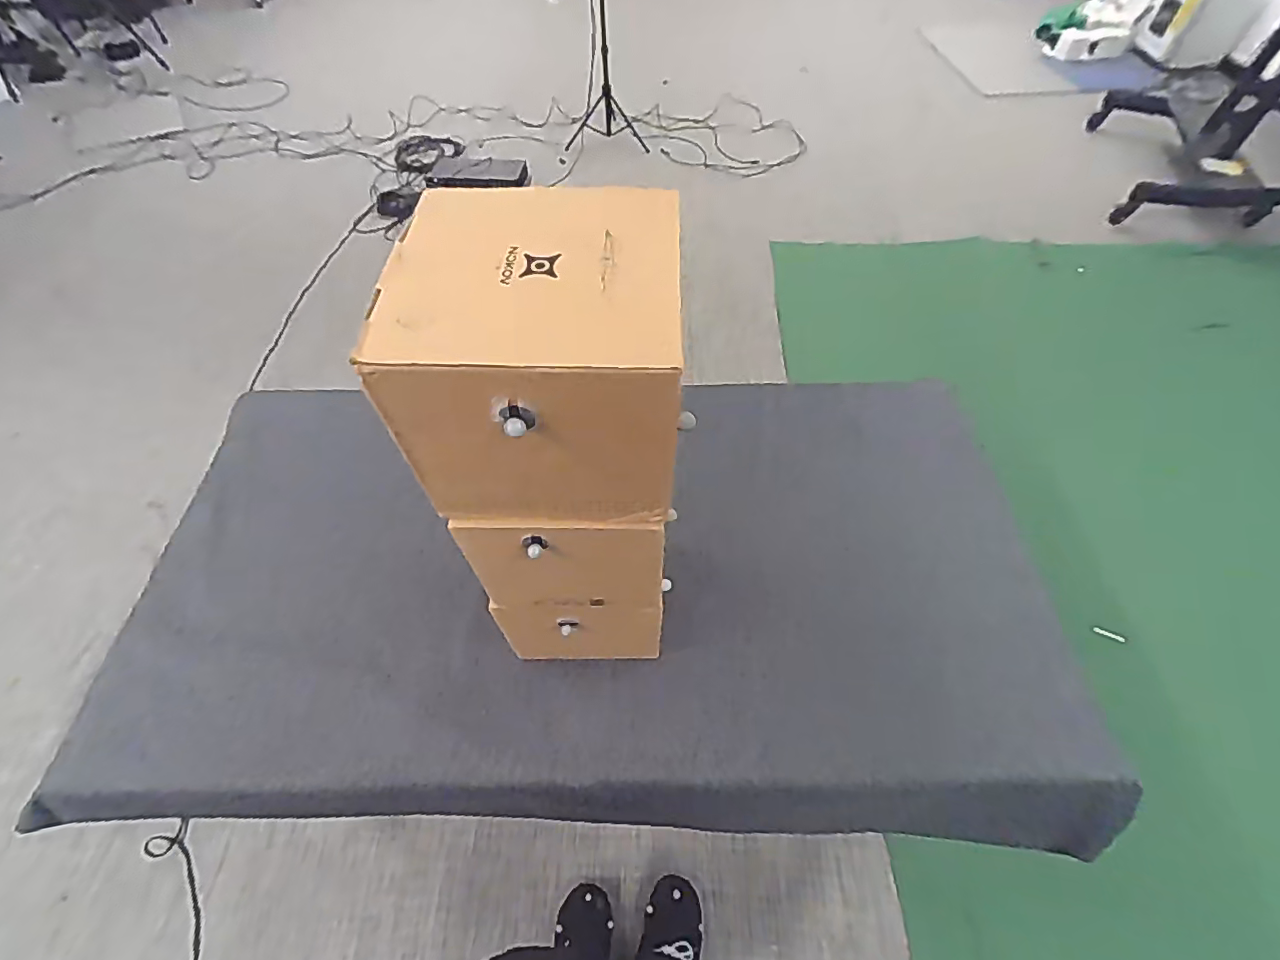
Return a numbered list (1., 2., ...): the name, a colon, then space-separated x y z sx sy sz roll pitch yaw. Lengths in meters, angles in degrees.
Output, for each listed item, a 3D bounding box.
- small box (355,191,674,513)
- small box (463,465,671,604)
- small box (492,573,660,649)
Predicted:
1. small box: -0.065 -0.085 0.398 0.179 0.176 0.168 1 58 0
2. small box: -0.060 0.009 0.534 0.168 0.176 0.179 -1 56 -1
3. small box: -0.065 0.103 0.664 0.179 0.176 0.168 0 55 0
